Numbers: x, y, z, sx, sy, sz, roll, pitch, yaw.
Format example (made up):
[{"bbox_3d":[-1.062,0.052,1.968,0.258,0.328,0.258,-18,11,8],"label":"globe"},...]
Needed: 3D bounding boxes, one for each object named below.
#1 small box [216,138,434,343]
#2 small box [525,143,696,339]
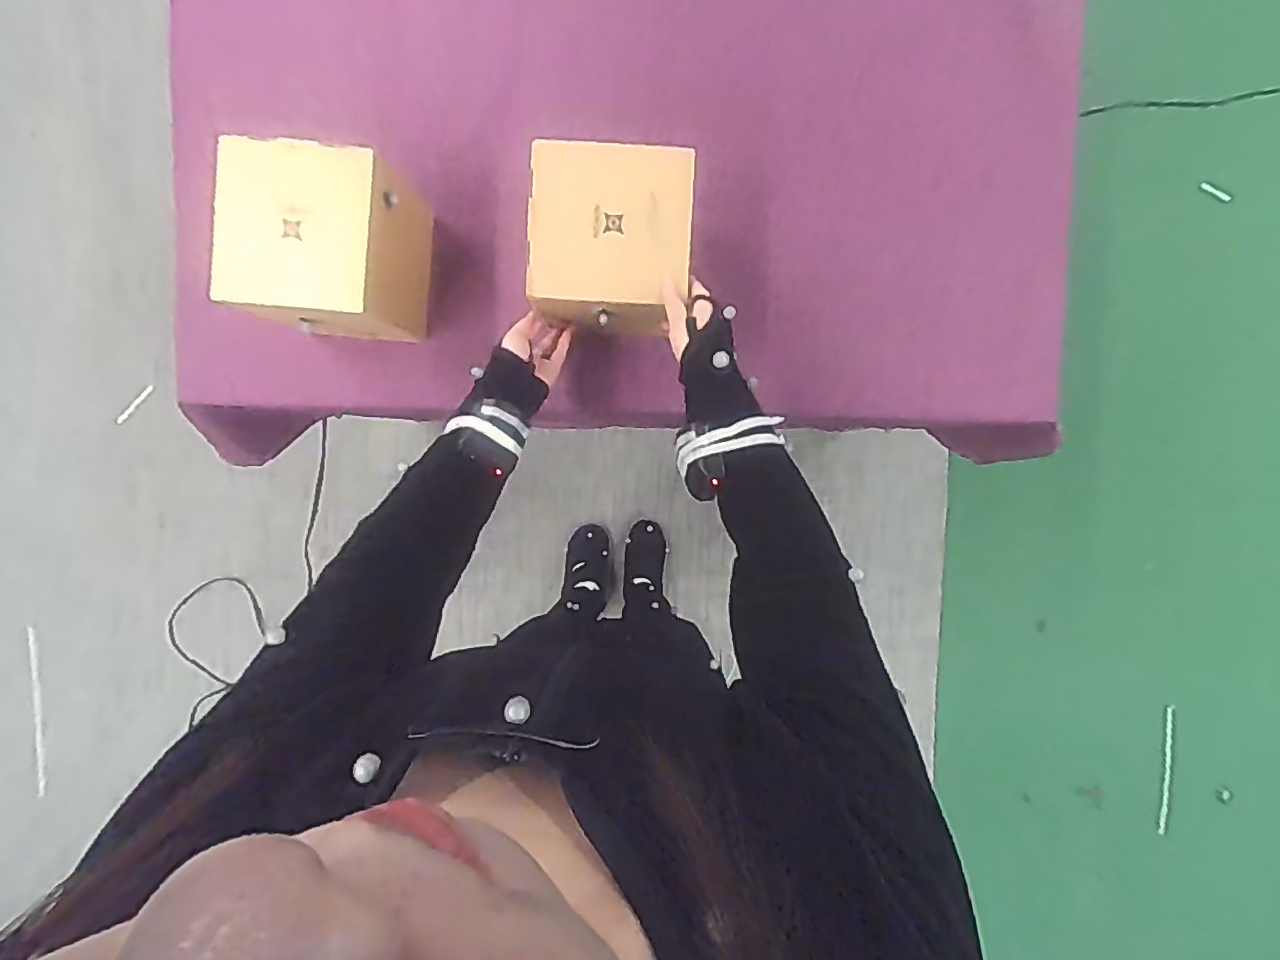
[{"bbox_3d":[-0.366,-0.273,0.657,0.168,0.176,0.179,5,92,0],"label":"small box"},{"bbox_3d":[-0.031,-0.273,0.655,0.179,0.176,0.168,4,93,0],"label":"small box"}]
